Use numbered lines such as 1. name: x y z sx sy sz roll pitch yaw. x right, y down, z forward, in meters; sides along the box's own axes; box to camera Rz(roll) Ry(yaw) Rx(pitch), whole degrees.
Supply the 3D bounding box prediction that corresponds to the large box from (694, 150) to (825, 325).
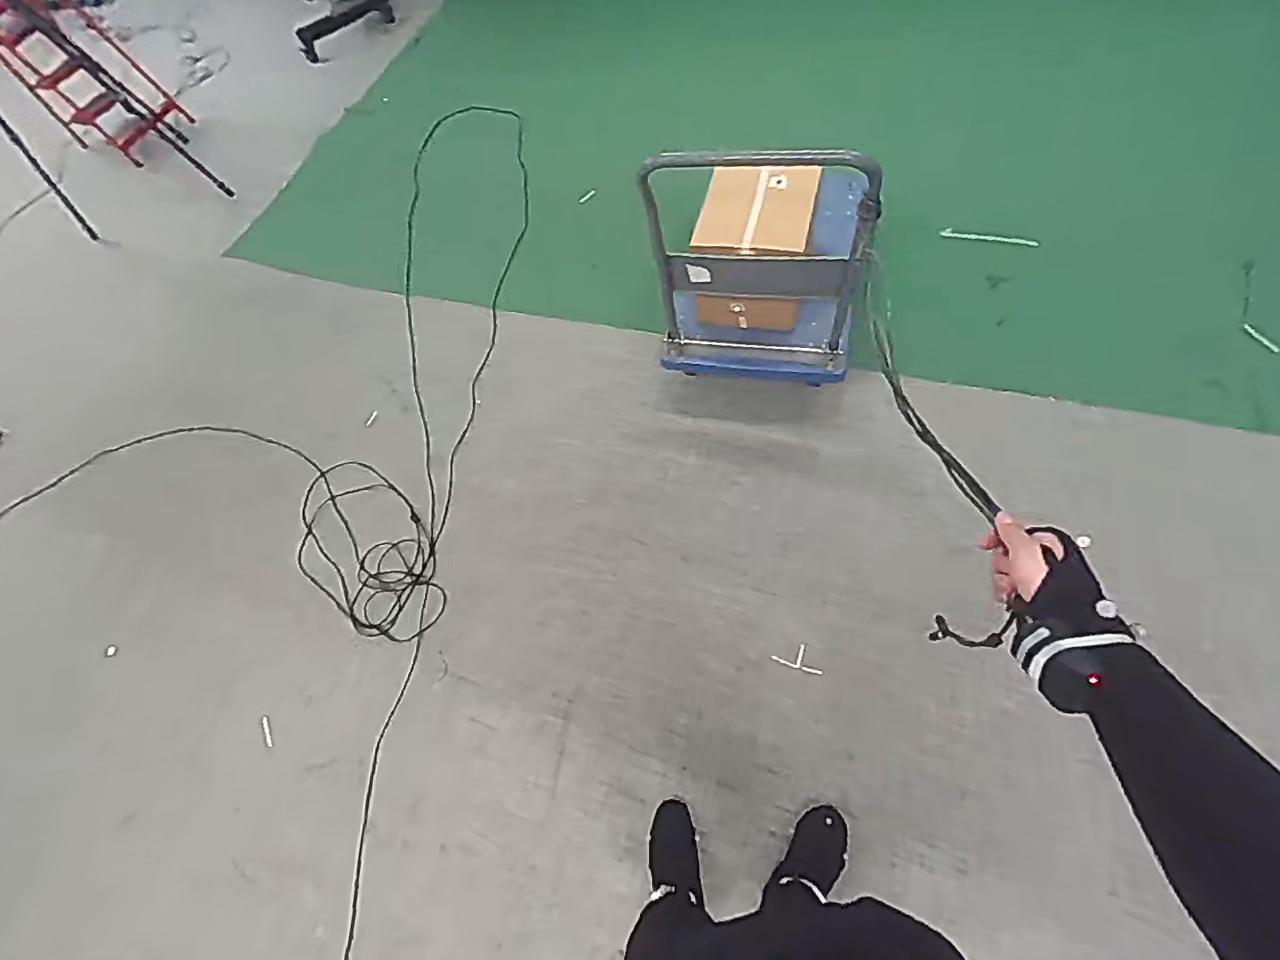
1. large box: 0.370 -0.737 1.665 0.320 0.320 0.408 11 66 16
